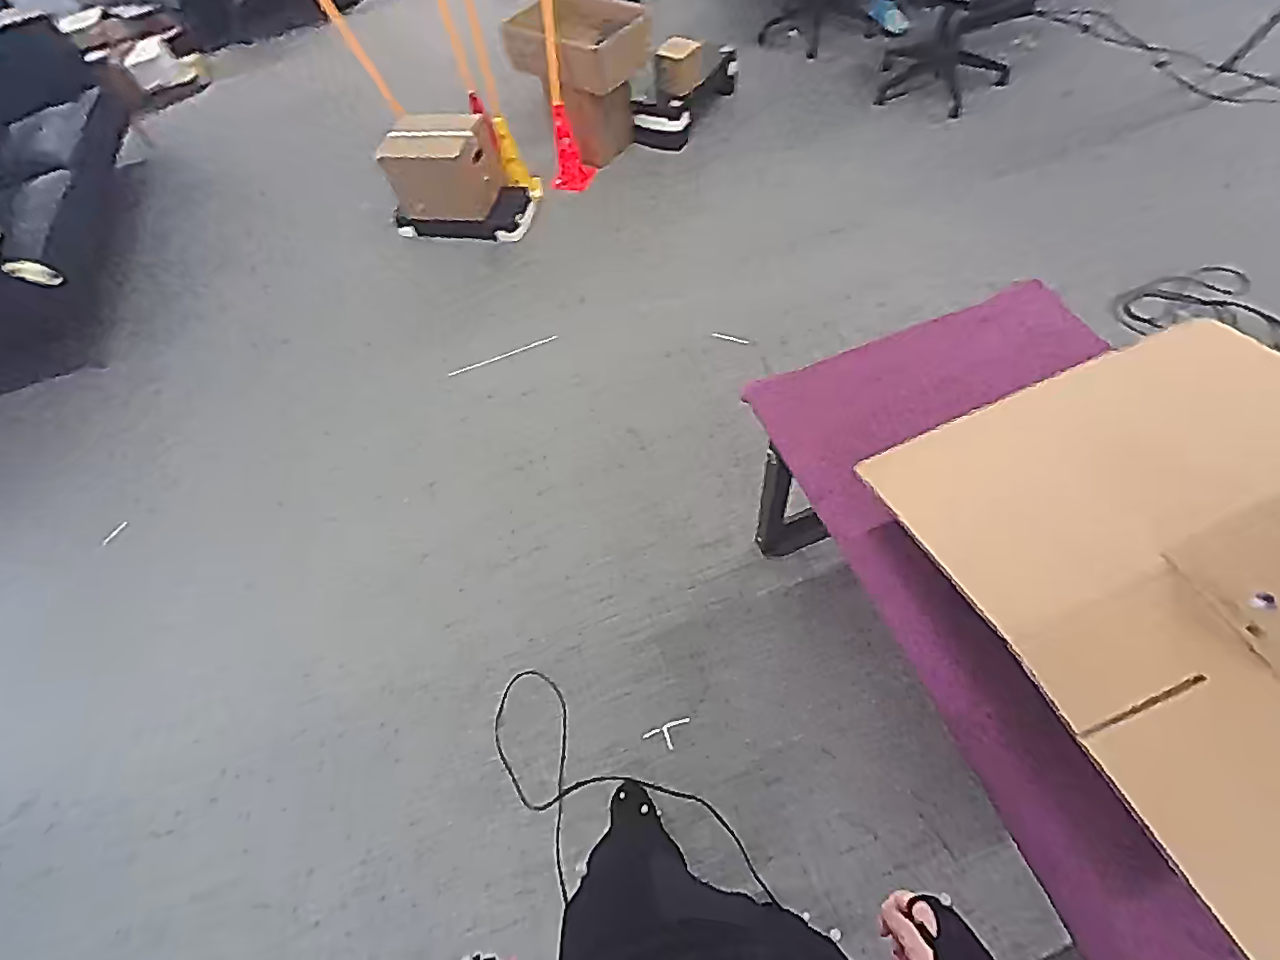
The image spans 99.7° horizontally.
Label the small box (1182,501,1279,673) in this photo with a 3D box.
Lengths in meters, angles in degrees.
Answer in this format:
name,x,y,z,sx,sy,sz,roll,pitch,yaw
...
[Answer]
name,x,y,z,sx,sy,sz,roll,pitch,yaw
small box,0.715,0.082,0.525,0.179,0.176,0.168,-21,61,-4
